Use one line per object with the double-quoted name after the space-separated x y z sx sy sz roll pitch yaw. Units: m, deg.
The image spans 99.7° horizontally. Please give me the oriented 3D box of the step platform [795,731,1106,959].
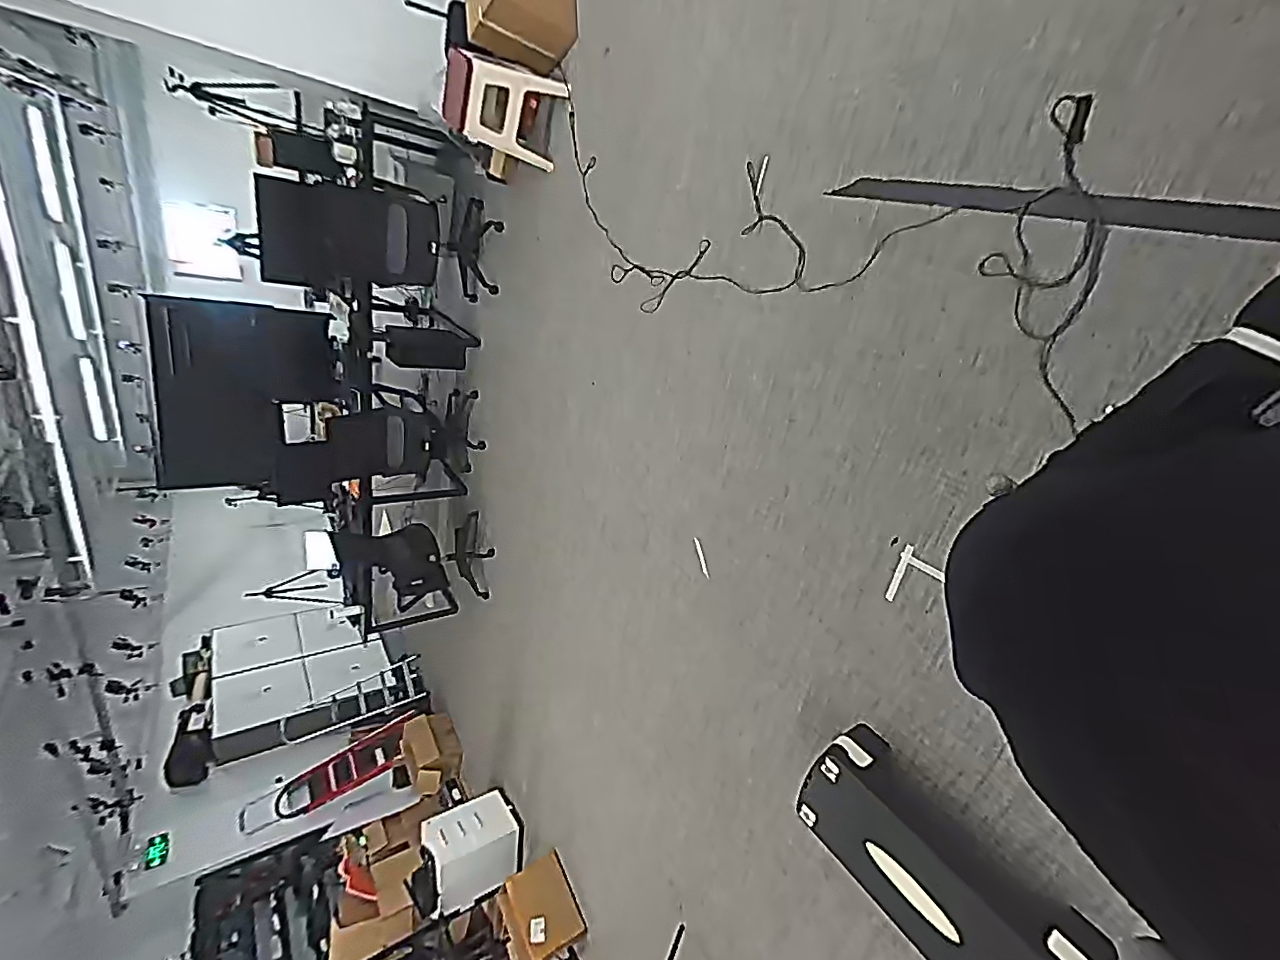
0.729 1.011 1.386 0.684 0.204 0.286 37 124 44 "step platform"
